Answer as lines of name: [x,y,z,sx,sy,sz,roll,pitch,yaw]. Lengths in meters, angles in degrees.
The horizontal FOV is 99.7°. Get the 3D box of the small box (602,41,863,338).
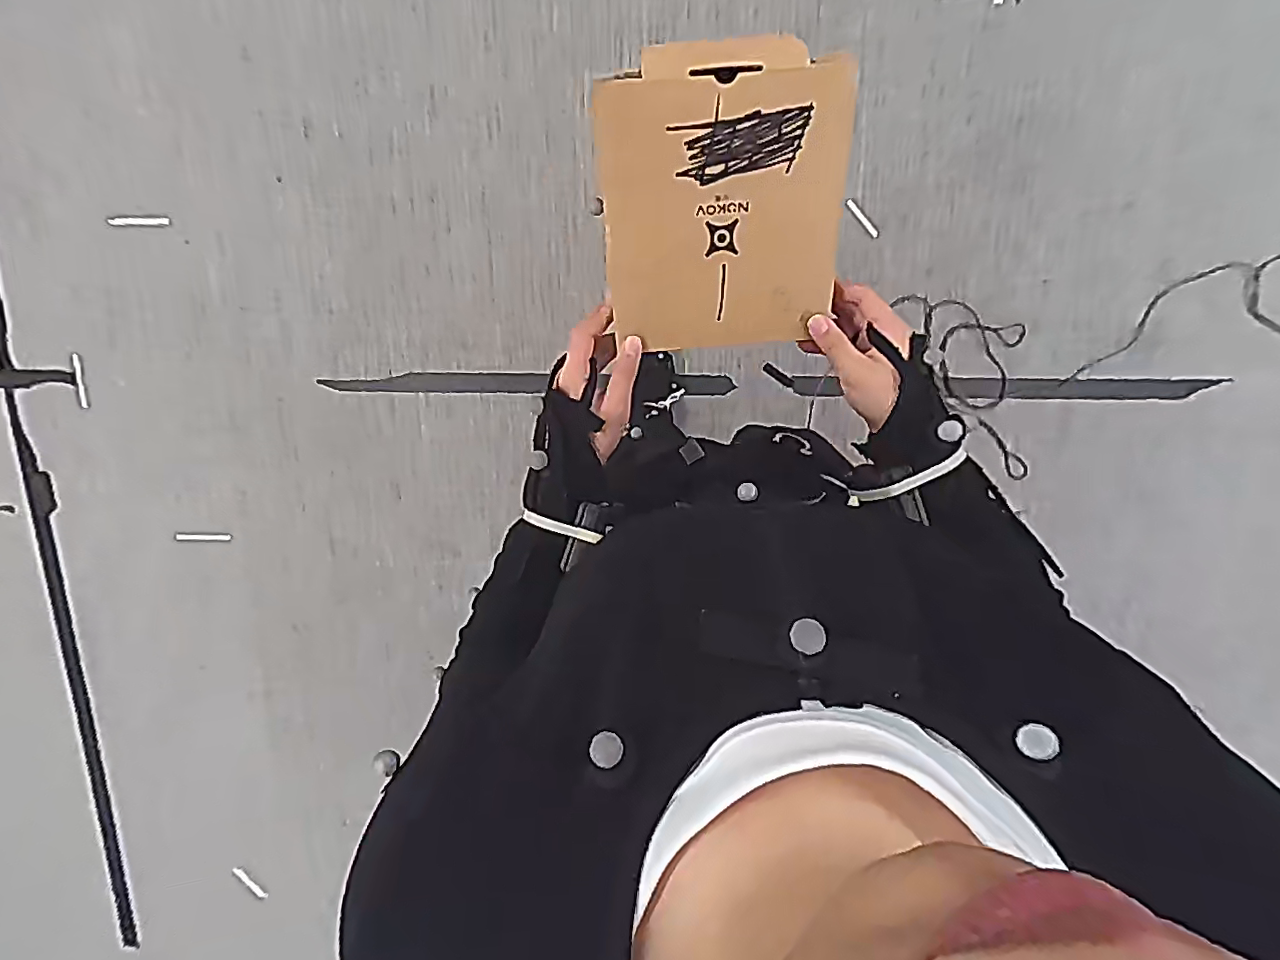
small box: [0.057,-0.229,0.439,0.168,0.176,0.179,-3,122,0]
